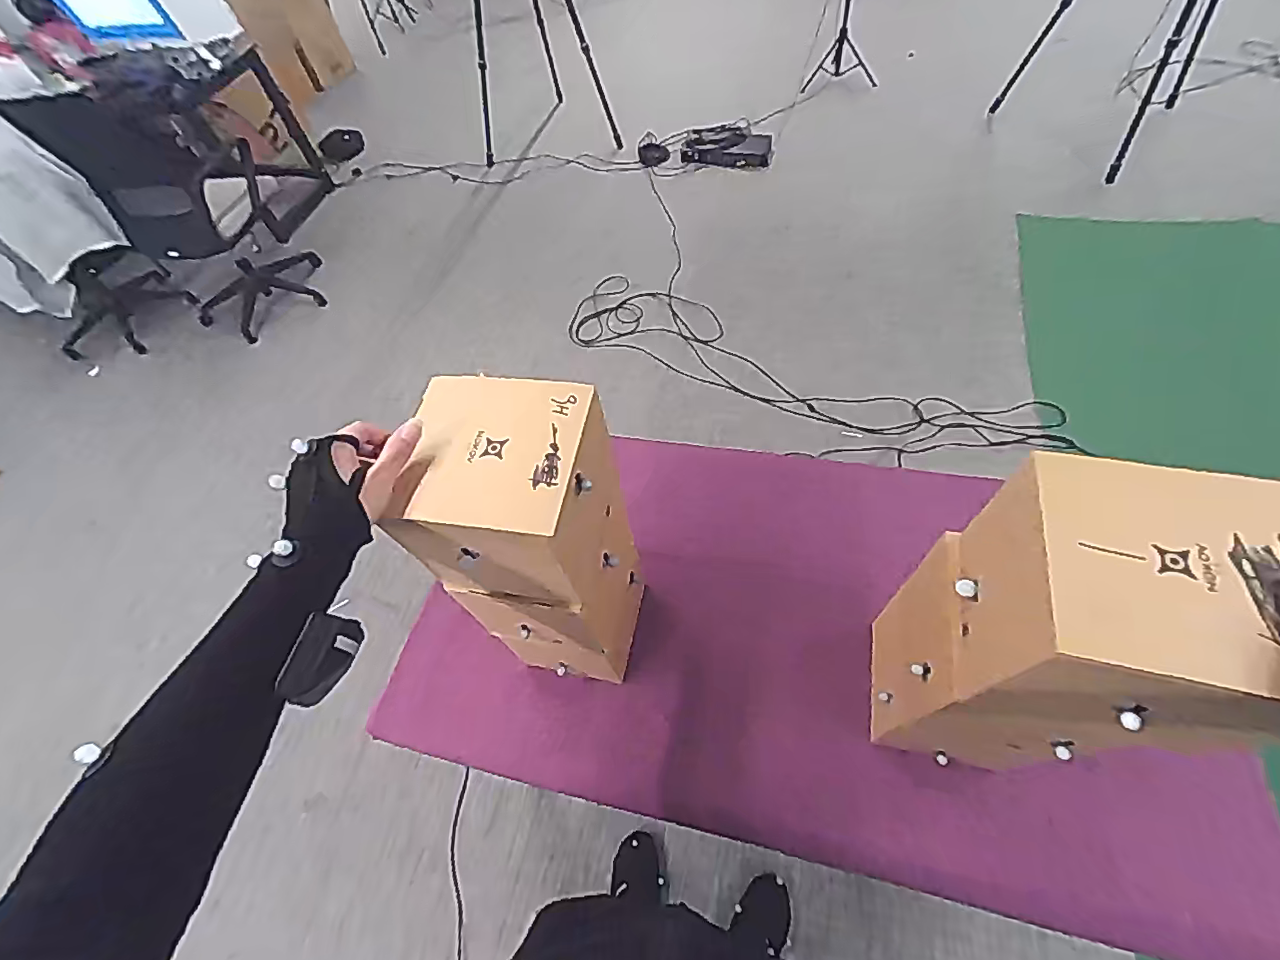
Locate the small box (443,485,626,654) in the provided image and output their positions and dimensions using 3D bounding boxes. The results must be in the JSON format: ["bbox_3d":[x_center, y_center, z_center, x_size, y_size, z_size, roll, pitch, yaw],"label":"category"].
[{"bbox_3d":[-0.119,0.106,0.702,0.168,0.176,0.179,6,59,12],"label":"small box"}]

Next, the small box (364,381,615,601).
[{"bbox_3d":[-0.137,0.016,0.567,0.179,0.176,0.168,5,59,12],"label":"small box"}]

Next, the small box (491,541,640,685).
[{"bbox_3d":[-0.101,0.196,0.836,0.168,0.176,0.179,7,58,13],"label":"small box"}]

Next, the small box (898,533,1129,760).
[{"bbox_3d":[0.384,0.181,0.574,0.168,0.176,0.179,7,58,13],"label":"small box"}]

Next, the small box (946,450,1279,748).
[{"bbox_3d":[0.369,0.101,0.432,0.179,0.176,0.168,9,59,15],"label":"small box"}]
